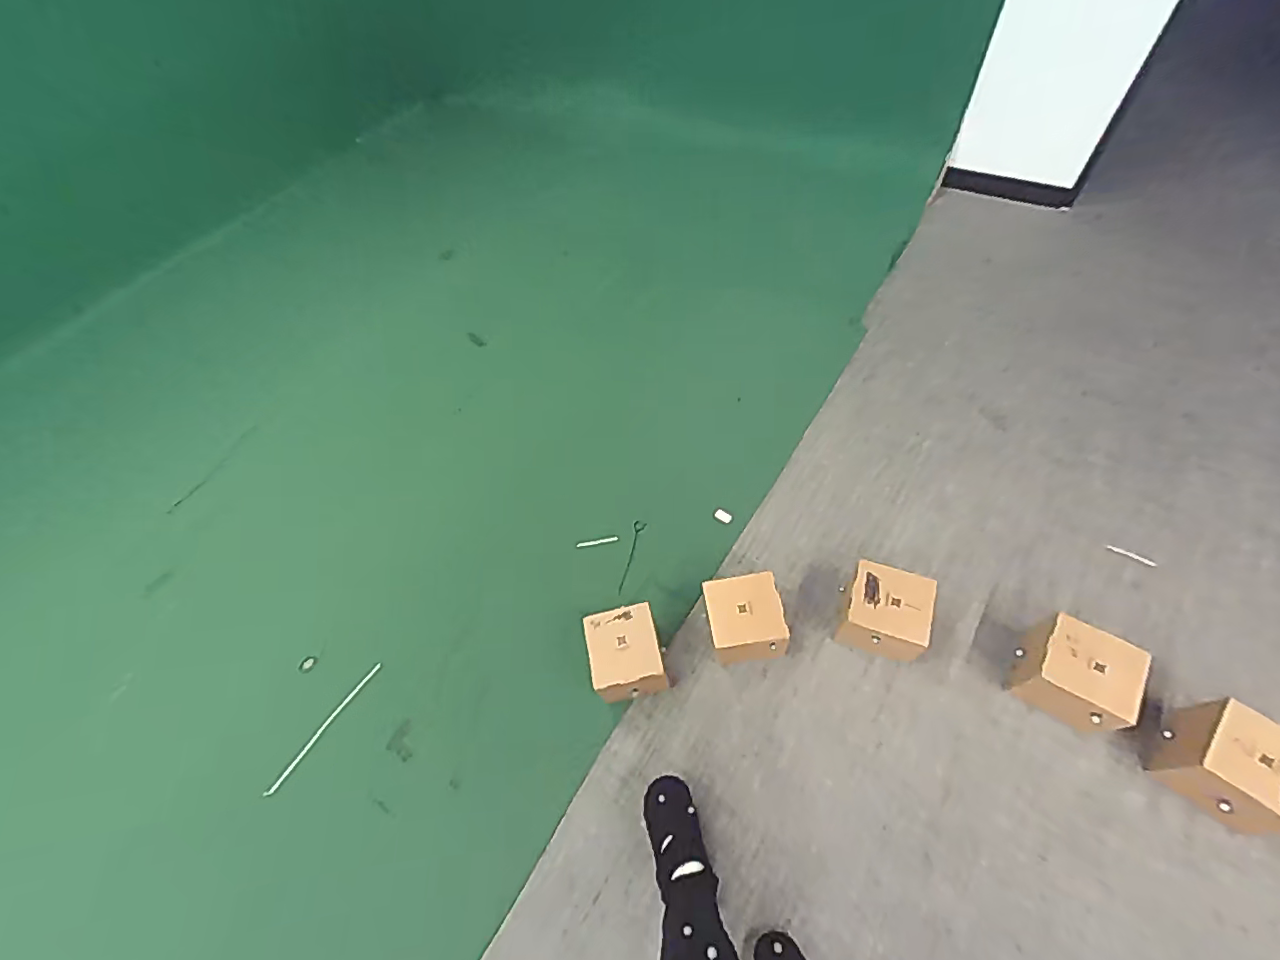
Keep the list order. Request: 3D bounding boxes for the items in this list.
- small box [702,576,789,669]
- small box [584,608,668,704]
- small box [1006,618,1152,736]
[{"bbox_3d":[0.257,0.358,1.338,0.179,0.176,0.168,-10,56,2],"label":"small box"},{"bbox_3d":[-0.030,0.438,1.326,0.168,0.176,0.179,-14,57,-1],"label":"small box"},{"bbox_3d":[0.951,0.436,1.184,0.179,0.176,0.168,27,65,23],"label":"small box"}]
